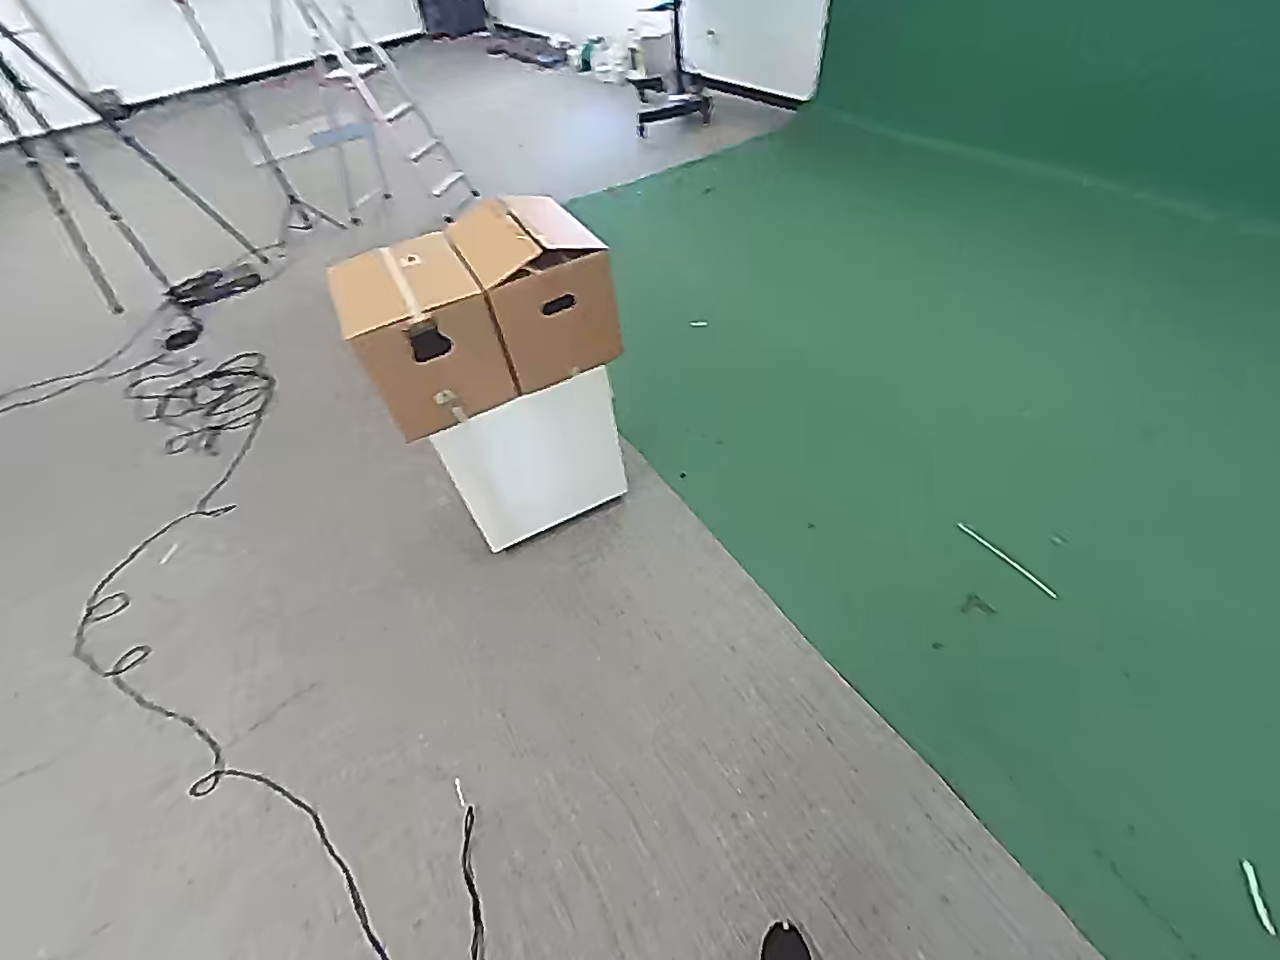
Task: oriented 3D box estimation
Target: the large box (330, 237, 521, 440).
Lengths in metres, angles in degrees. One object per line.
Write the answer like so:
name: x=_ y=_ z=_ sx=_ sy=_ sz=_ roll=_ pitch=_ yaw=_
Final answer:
large box: x=-0.558 y=-0.378 z=1.422 sx=0.320 sy=0.320 sz=0.408 roll=-26 pitch=49 yaw=-14
